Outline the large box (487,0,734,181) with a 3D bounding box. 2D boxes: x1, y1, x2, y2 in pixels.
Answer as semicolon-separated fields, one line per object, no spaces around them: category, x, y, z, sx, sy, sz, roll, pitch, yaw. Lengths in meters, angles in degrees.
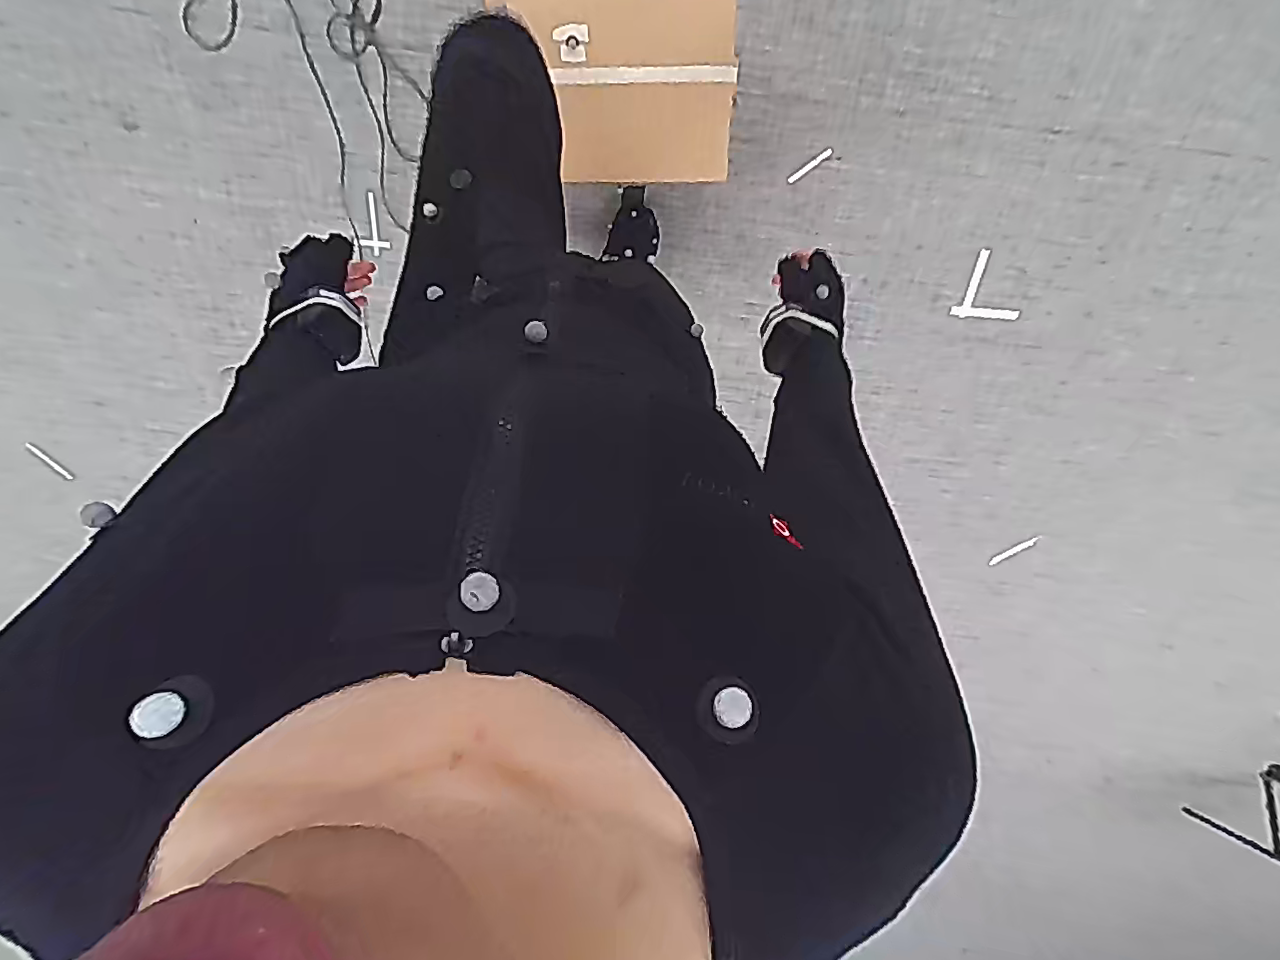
large box;-0.043;-0.758;1.041;0.408;0.320;0.320;0;118;1
